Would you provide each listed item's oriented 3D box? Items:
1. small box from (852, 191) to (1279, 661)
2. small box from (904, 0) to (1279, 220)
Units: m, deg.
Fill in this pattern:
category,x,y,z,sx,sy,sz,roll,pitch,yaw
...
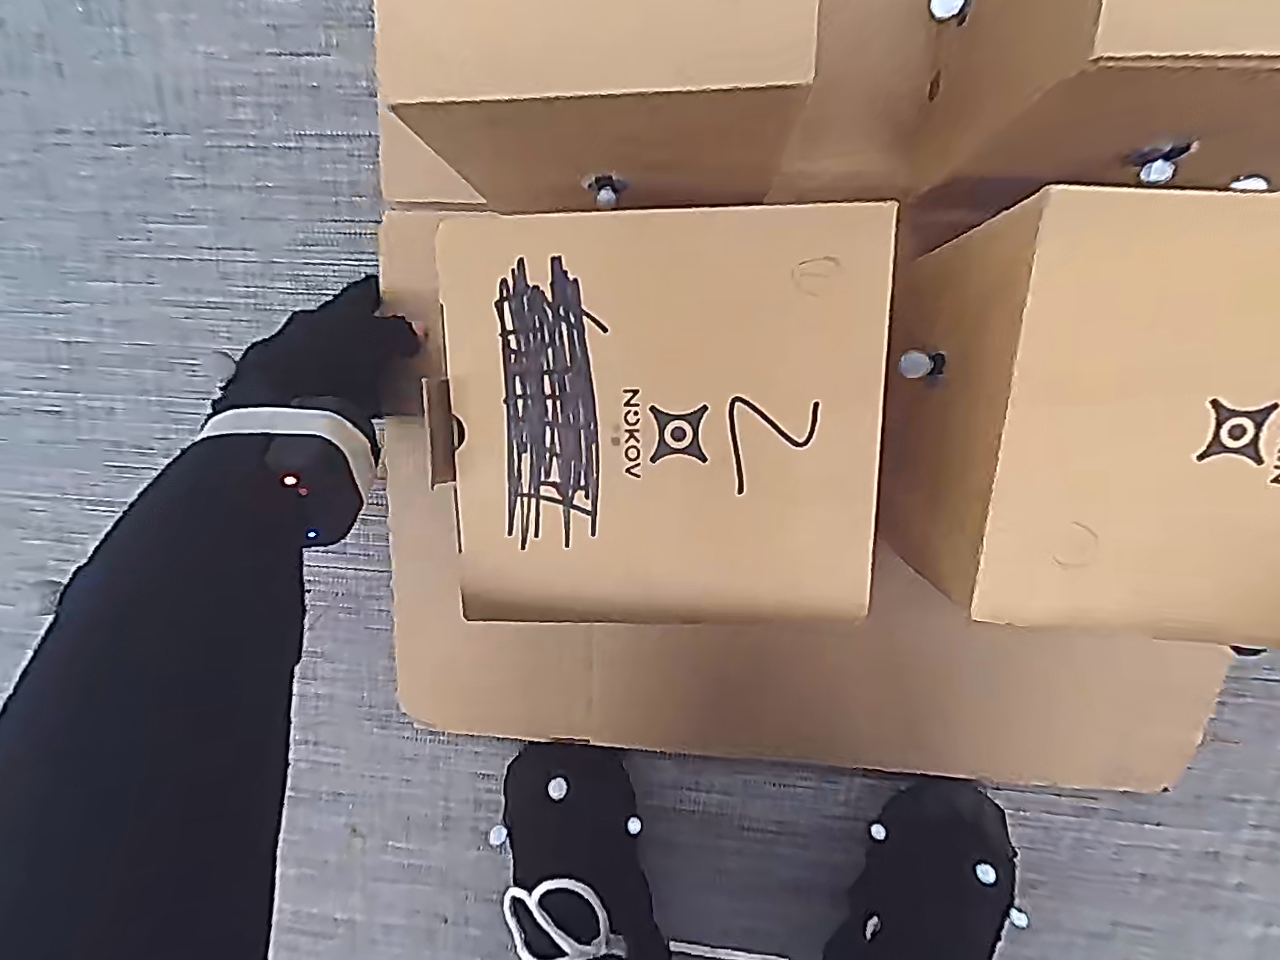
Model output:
category,x,y,z,sx,sy,sz,roll,pitch,yaw
small box,0.226,-0.027,0.276,0.179,0.176,0.168,5,101,3
small box,0.251,-0.226,0.245,0.179,0.176,0.168,5,100,5
